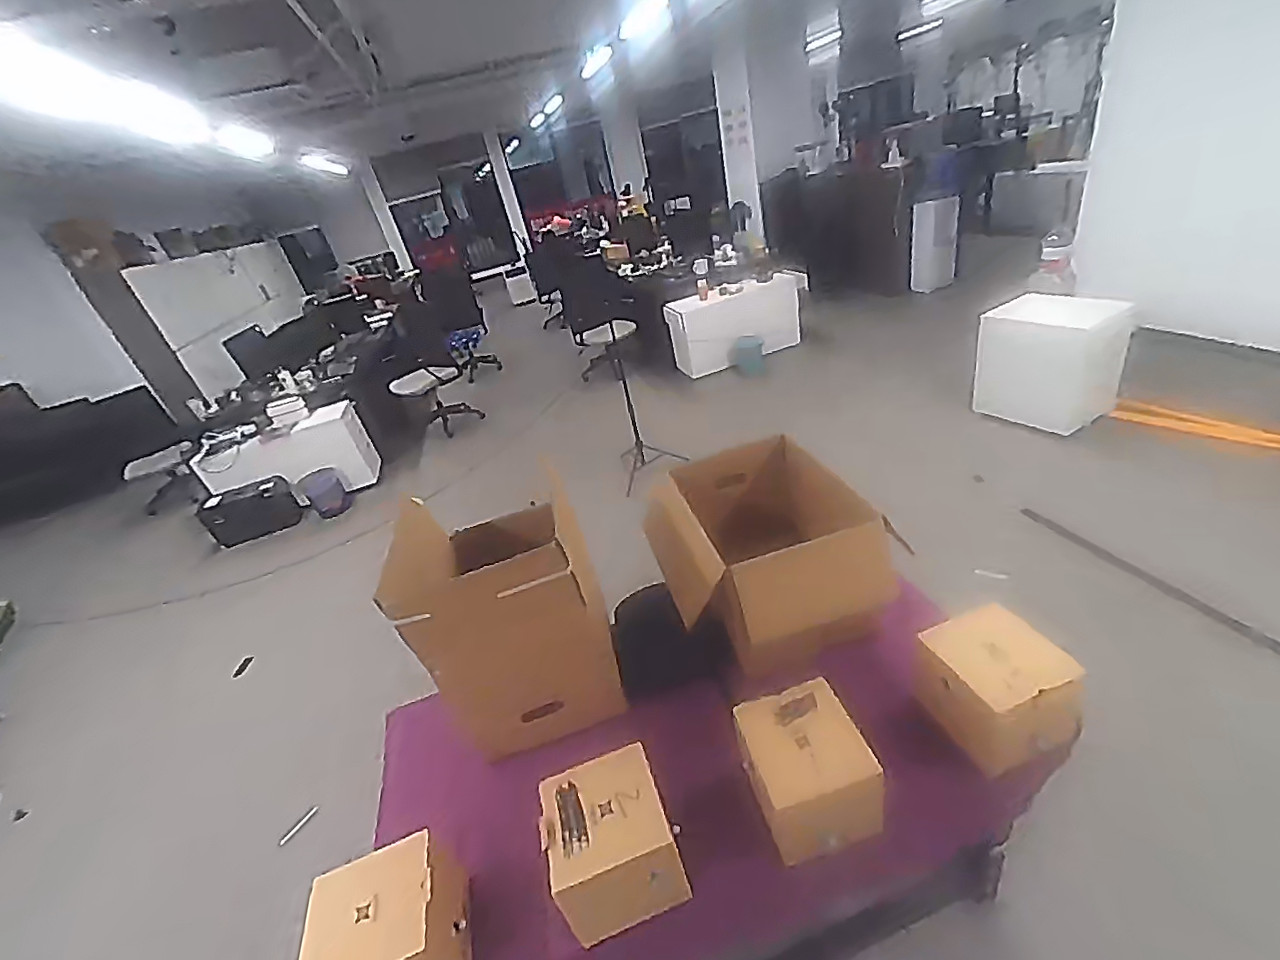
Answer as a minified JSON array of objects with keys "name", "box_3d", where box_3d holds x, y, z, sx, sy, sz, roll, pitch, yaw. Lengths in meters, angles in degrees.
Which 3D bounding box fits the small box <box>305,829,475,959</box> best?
[{"name":"small box","box_3d":[-0.358,0.671,0.794,0.179,0.176,0.168,-19,30,-10]}]

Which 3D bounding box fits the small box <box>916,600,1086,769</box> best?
[{"name":"small box","box_3d":[0.593,0.342,0.915,0.168,0.176,0.179,-21,30,-7]}]
